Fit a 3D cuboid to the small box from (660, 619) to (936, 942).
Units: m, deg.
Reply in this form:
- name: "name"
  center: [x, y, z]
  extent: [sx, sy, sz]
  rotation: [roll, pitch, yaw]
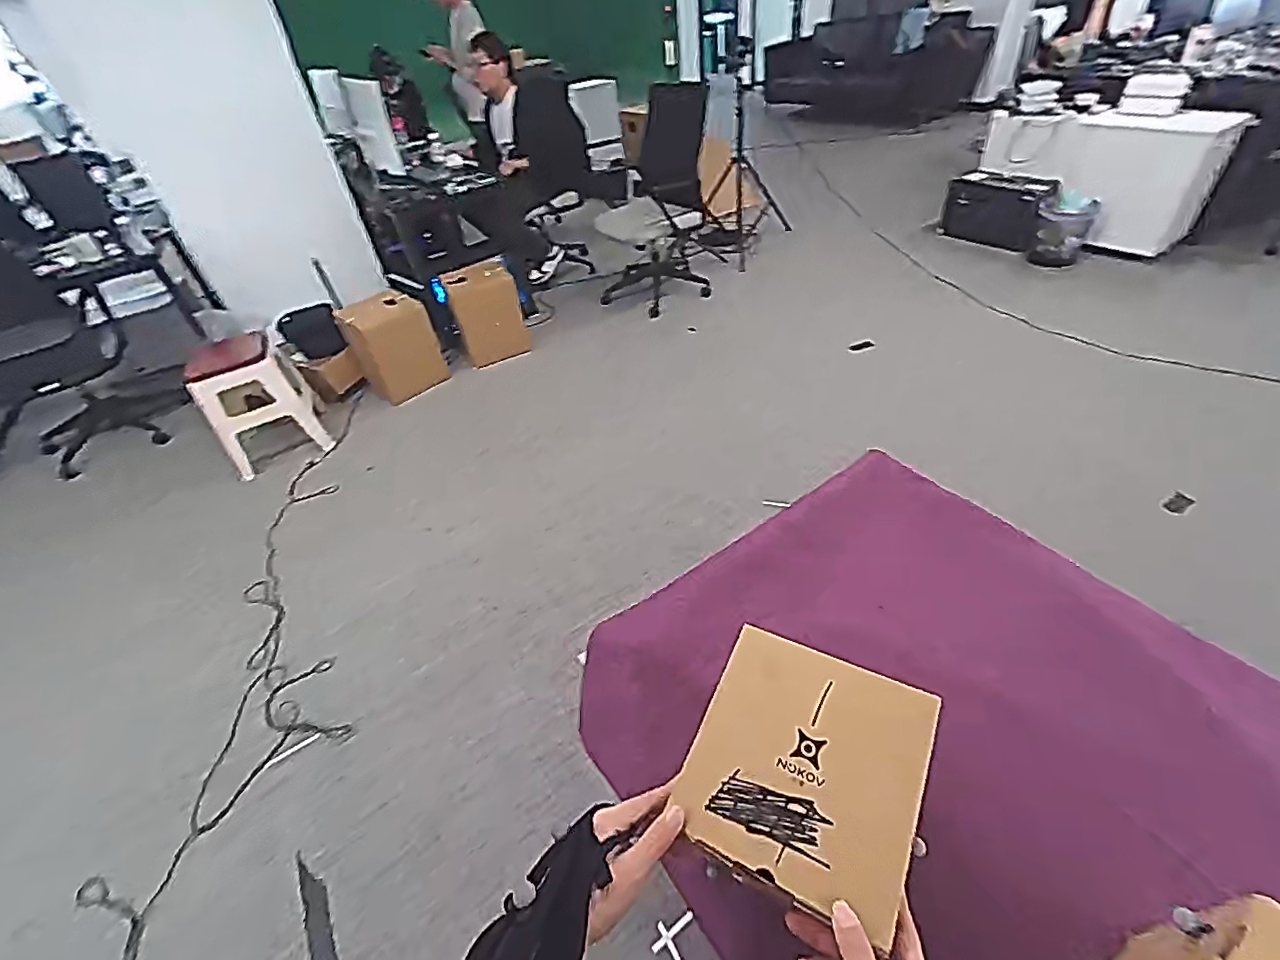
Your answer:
- name: "small box"
  center: [0.139, 0.260, 0.474]
  extent: [0.168, 0.176, 0.179]
  rotation: [16, 55, 26]
